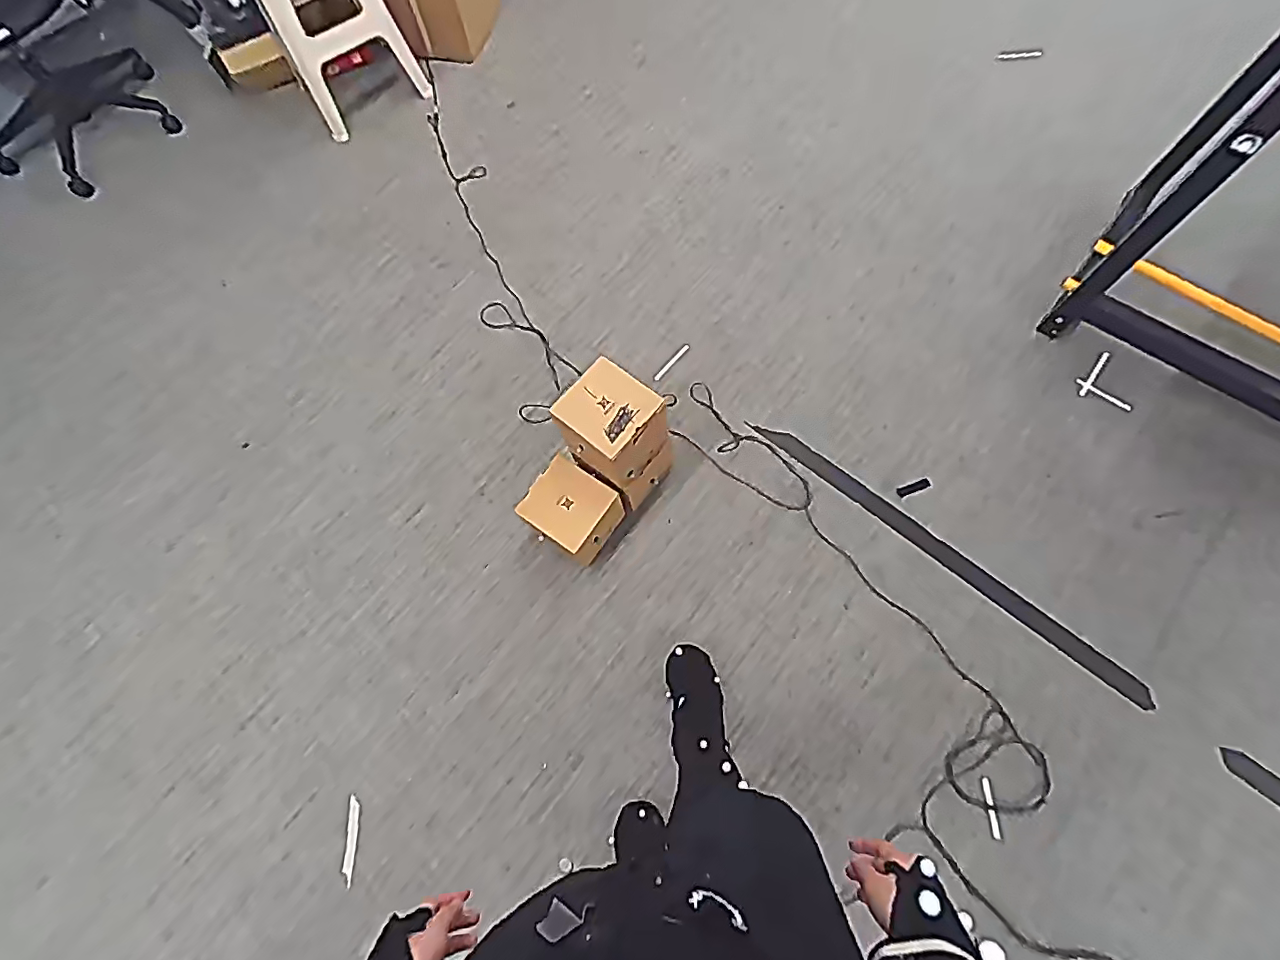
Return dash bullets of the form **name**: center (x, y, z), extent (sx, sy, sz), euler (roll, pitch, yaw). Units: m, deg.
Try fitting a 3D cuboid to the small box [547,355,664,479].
- **small box**: center (-0.062, -0.123, 1.142), extent (0.179, 0.176, 0.168), euler (38, 77, 17)
